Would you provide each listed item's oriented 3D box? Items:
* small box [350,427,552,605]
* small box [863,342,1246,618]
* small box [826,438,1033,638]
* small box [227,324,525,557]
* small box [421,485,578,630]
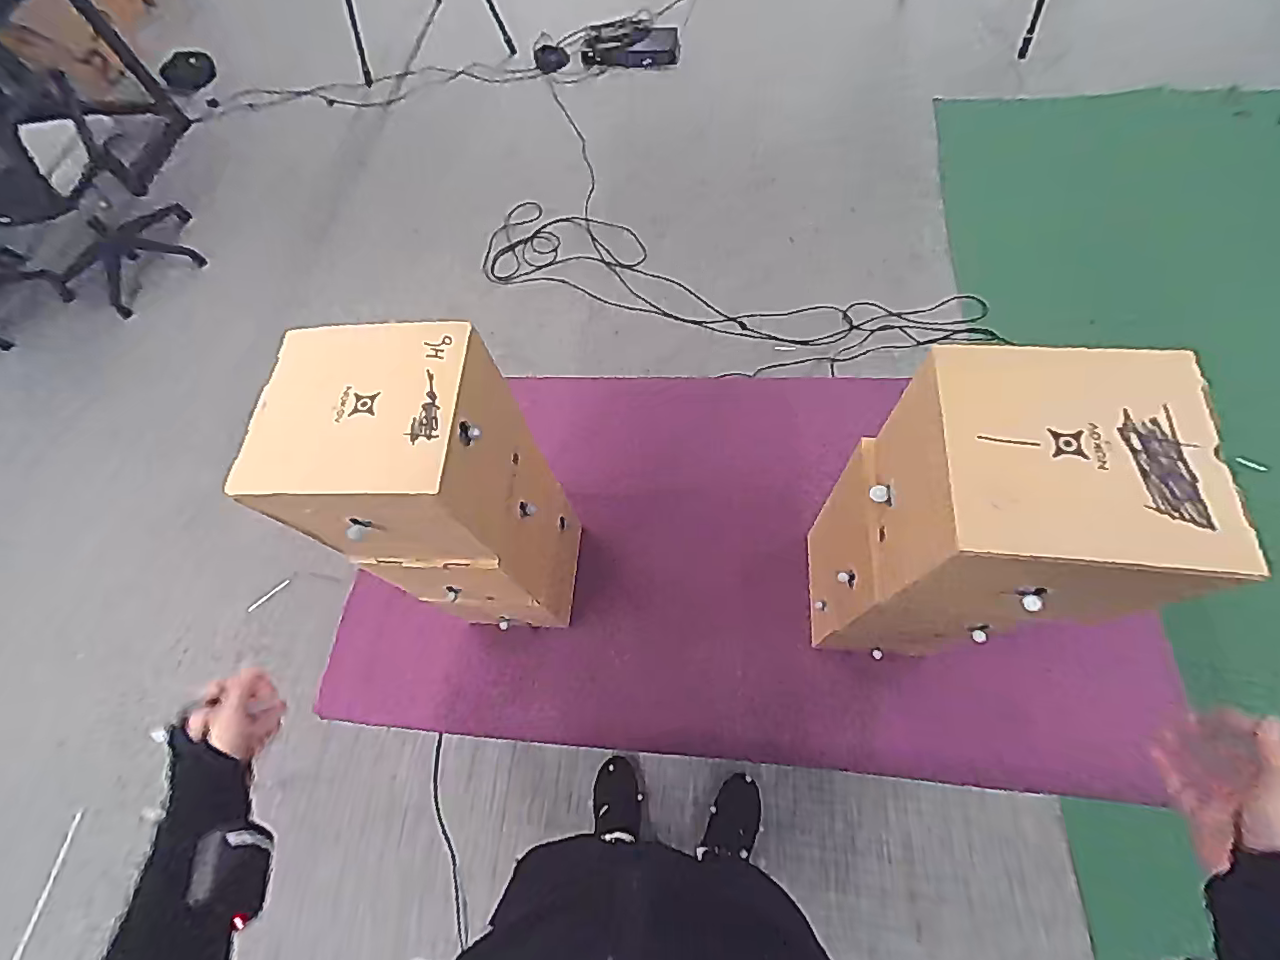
[{"bbox_3d":[-0.213,0.046,0.668,0.168,0.176,0.179,0,65,7],"label":"small box"},{"bbox_3d":[0.295,0.010,0.437,0.179,0.176,0.168,4,65,9],"label":"small box"},{"bbox_3d":[0.305,0.070,0.589,0.168,0.176,0.179,1,65,8],"label":"small box"},{"bbox_3d":[-0.229,-0.027,0.521,0.179,0.176,0.168,-1,65,7],"label":"small box"},{"bbox_3d":[-0.196,0.117,0.812,0.168,0.176,0.179,1,65,8],"label":"small box"}]
